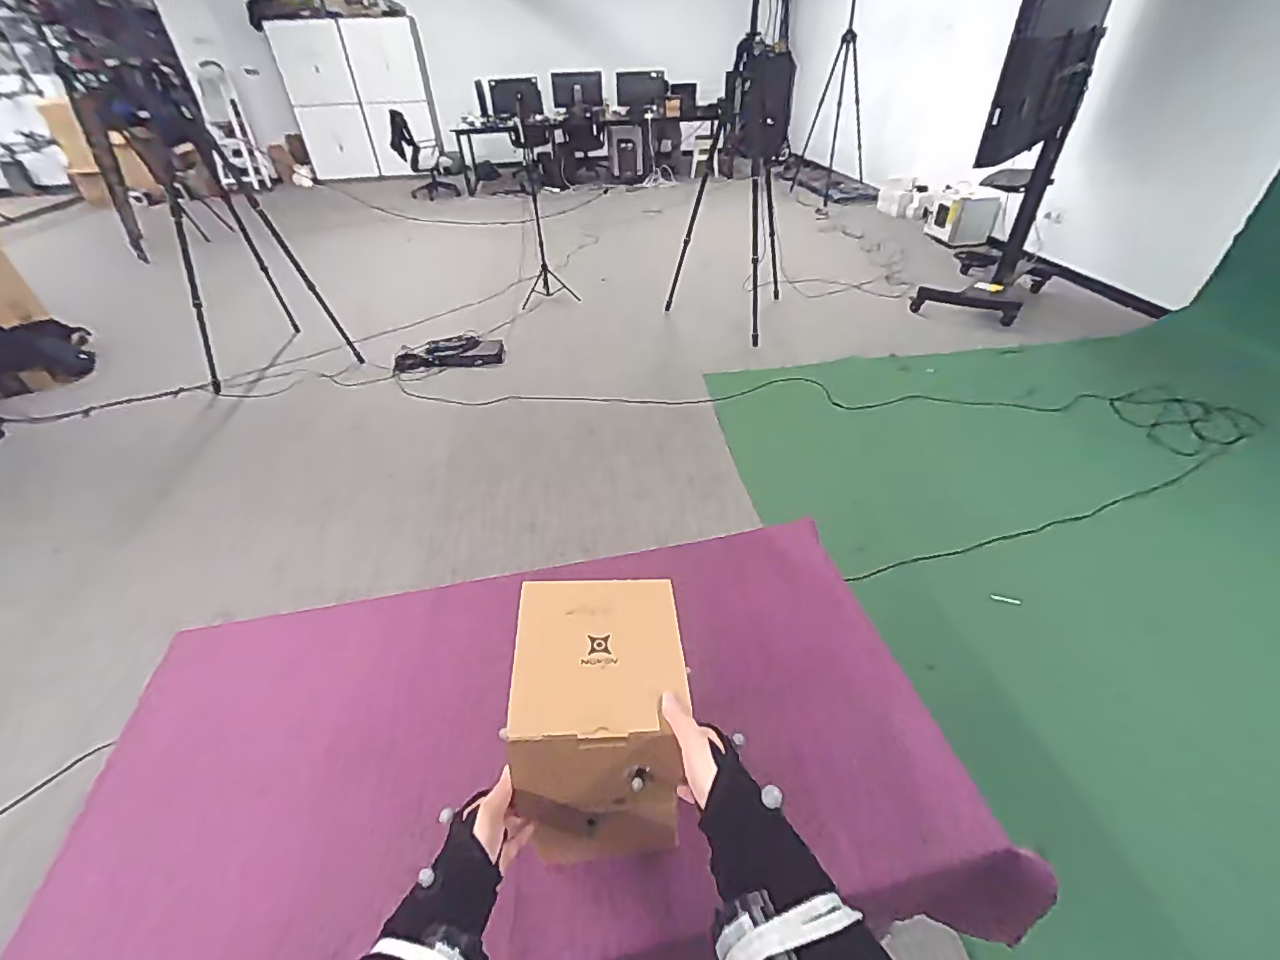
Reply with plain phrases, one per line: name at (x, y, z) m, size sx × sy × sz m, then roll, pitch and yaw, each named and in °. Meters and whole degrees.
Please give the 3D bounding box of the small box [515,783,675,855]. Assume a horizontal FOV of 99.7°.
small box at (-0.052, 0.359, 0.700) m, size 0.179 × 0.176 × 0.168 m, roll -6°, pitch 40°, yaw -2°

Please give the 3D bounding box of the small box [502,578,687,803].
small box at (-0.046, 0.227, 0.582) m, size 0.168 × 0.176 × 0.179 m, roll 0°, pitch 38°, yaw -5°
